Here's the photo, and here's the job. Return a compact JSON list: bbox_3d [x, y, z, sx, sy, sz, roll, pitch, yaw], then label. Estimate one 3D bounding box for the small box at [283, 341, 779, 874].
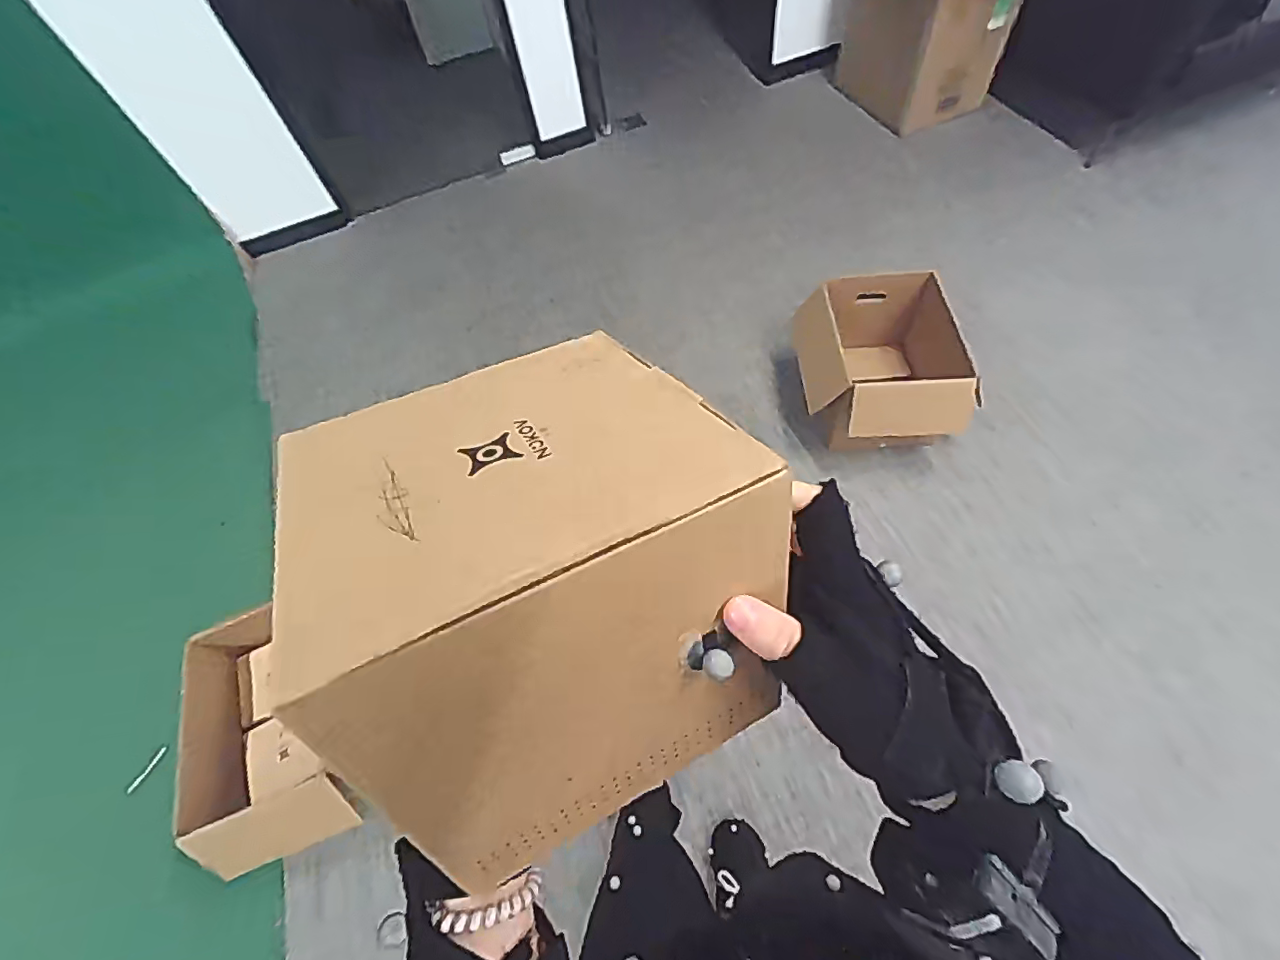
[{"bbox_3d":[-0.050,0.054,0.283,0.179,0.176,0.168,-24,40,-17],"label":"small box"}]
